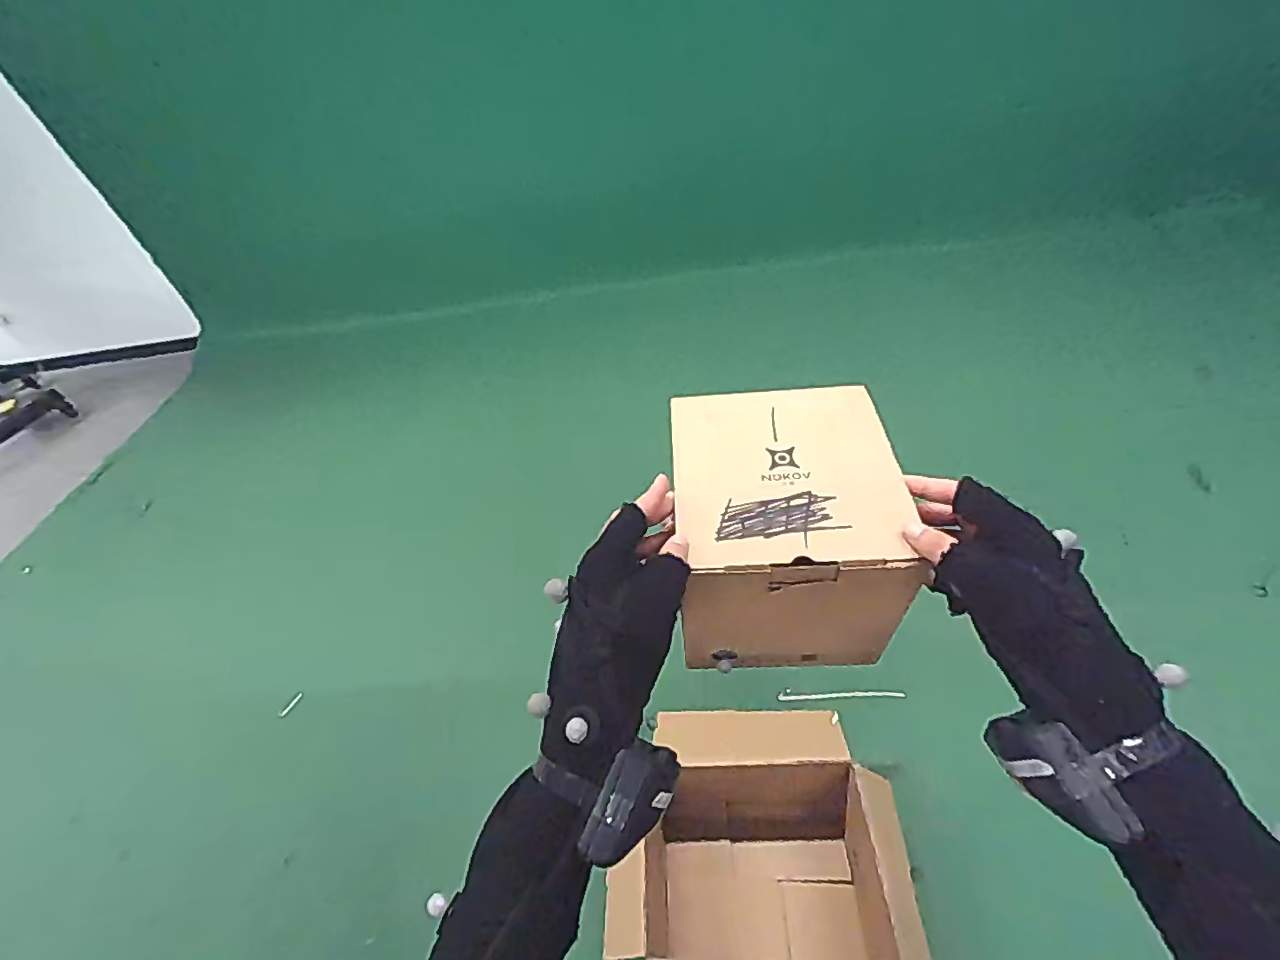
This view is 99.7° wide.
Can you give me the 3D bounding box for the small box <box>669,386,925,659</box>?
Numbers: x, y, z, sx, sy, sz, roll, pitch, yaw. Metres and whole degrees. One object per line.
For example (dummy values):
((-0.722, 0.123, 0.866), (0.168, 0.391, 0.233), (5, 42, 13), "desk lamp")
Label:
((0.113, 0.044, 0.465), (0.168, 0.176, 0.179), (-3, 48, 4), "small box")
